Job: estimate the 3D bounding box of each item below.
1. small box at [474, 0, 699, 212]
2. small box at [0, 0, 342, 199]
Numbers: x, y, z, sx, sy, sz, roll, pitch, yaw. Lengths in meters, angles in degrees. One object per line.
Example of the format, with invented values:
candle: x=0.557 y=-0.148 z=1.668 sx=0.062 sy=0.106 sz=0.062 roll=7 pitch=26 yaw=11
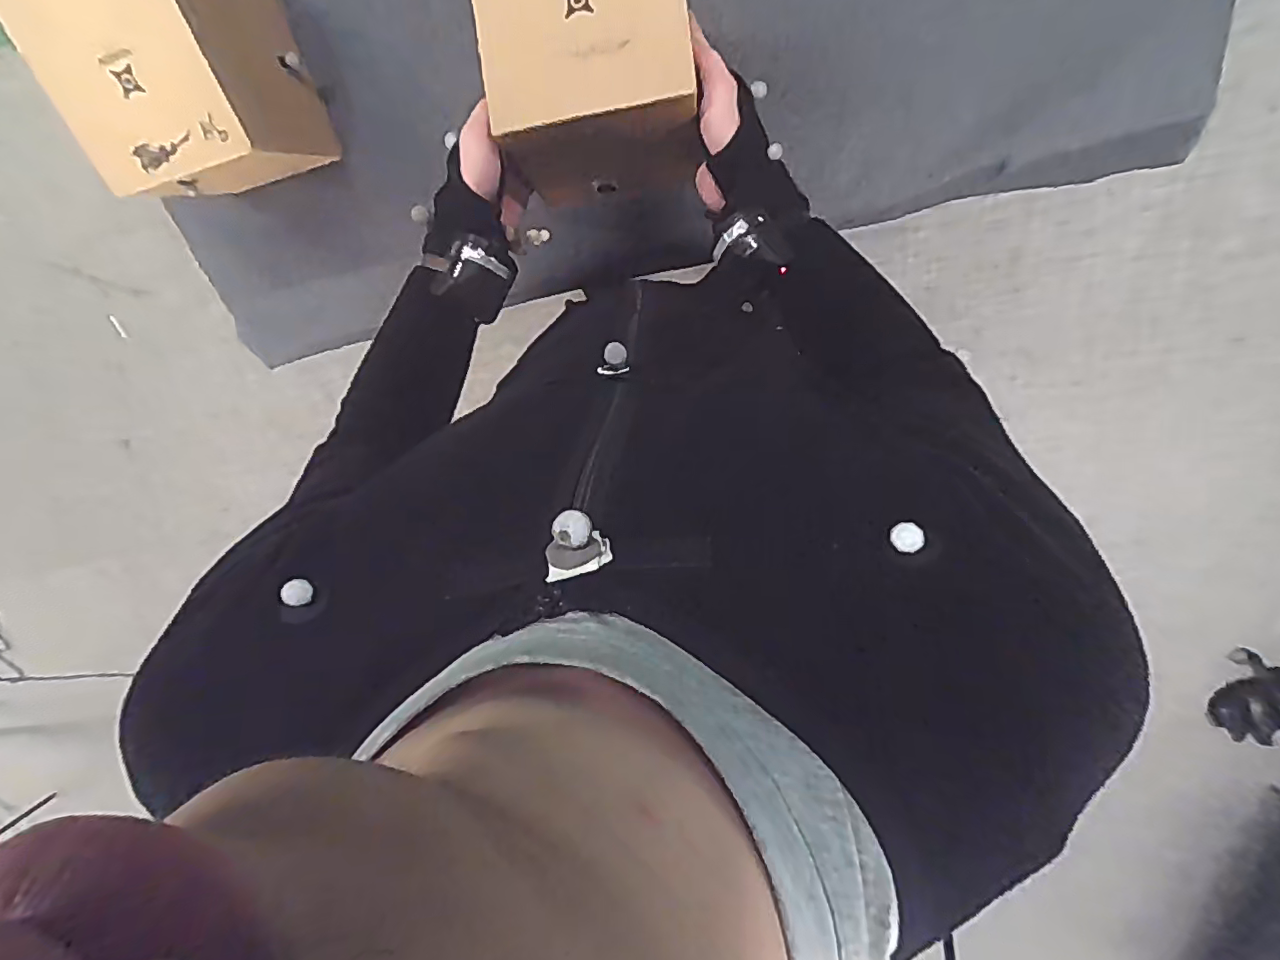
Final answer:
small box: x=-0.038 y=-0.372 z=0.488 sx=0.168 sy=0.176 sz=0.179 roll=-6 pitch=97 yaw=8
small box: x=-0.457 y=-0.405 z=0.556 sx=0.168 sy=0.176 sz=0.179 roll=-10 pitch=118 yaw=11
